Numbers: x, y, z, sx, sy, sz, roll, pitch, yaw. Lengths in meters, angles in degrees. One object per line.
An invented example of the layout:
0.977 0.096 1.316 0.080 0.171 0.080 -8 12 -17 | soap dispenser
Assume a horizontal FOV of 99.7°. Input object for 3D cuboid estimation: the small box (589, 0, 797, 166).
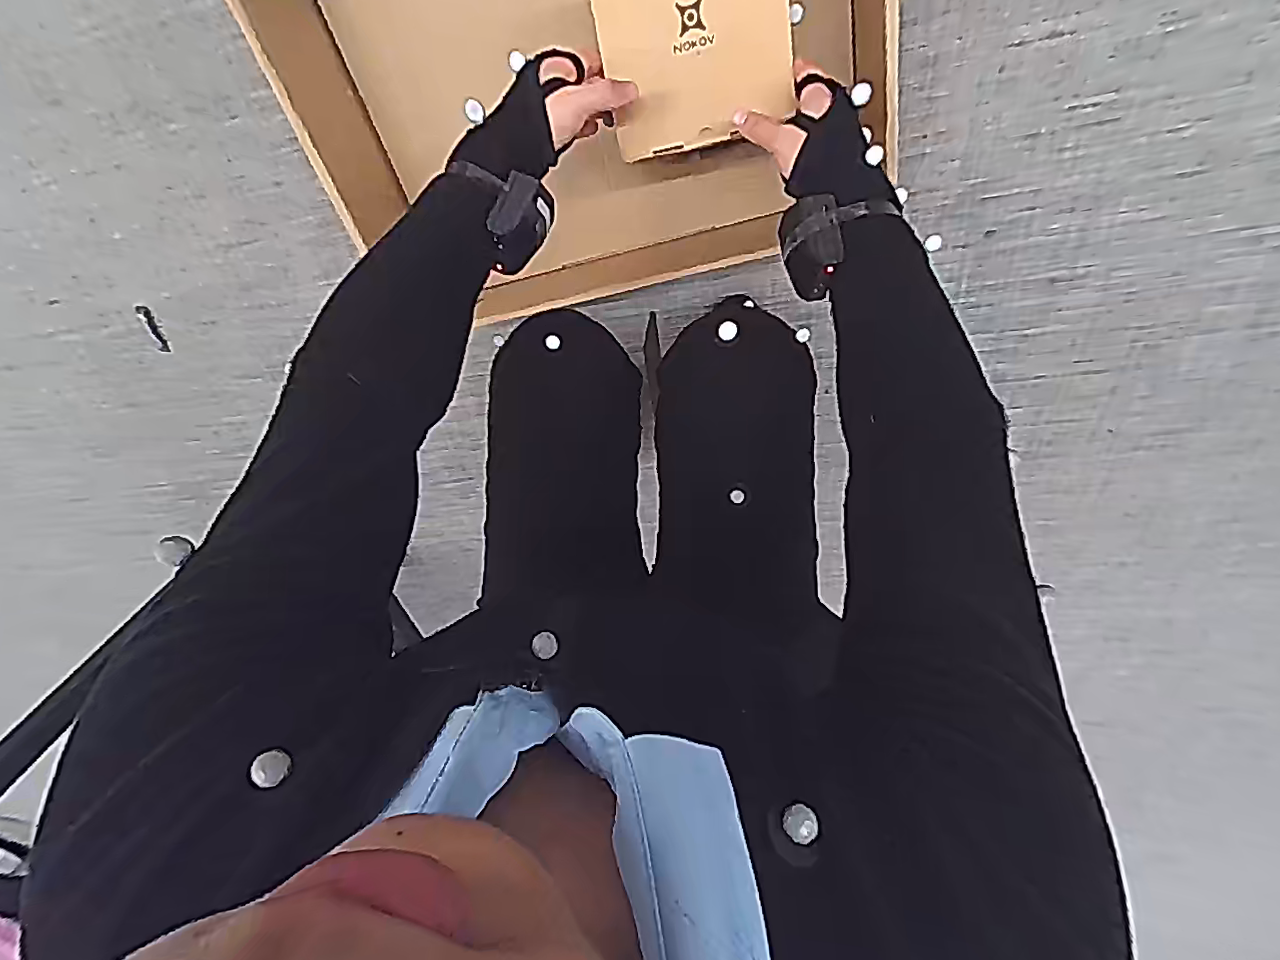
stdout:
0.051 -0.423 0.527 0.168 0.176 0.179 -9 119 11 | small box
